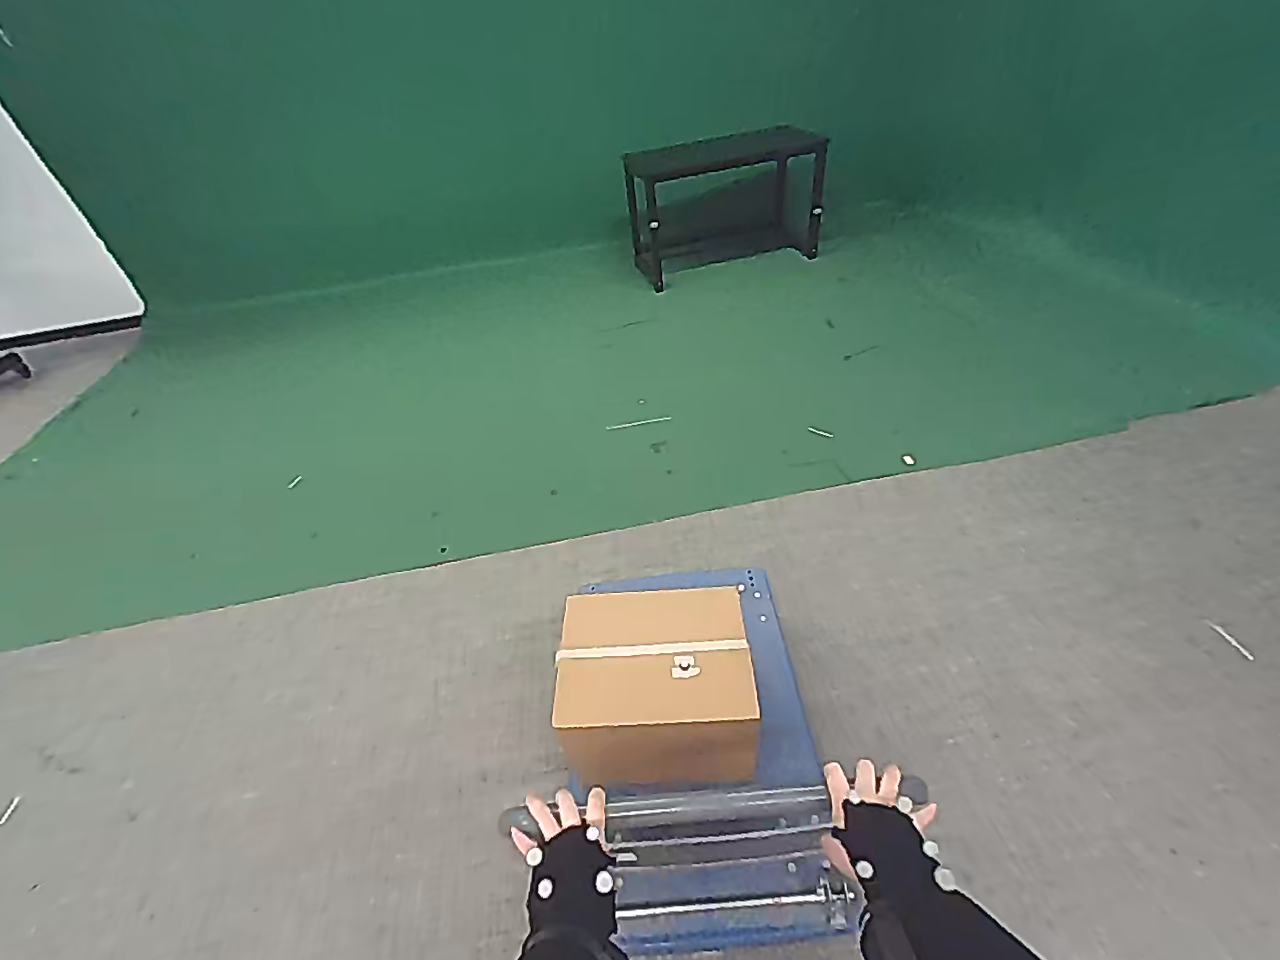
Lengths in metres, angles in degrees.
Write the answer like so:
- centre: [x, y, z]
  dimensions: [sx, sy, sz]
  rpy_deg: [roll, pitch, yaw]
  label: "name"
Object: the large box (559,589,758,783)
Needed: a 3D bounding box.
- centre: [0.044, 0.485, 1.271]
  dimensions: [0.408, 0.320, 0.320]
  rpy_deg: [-4, 42, 3]
  label: "large box"
